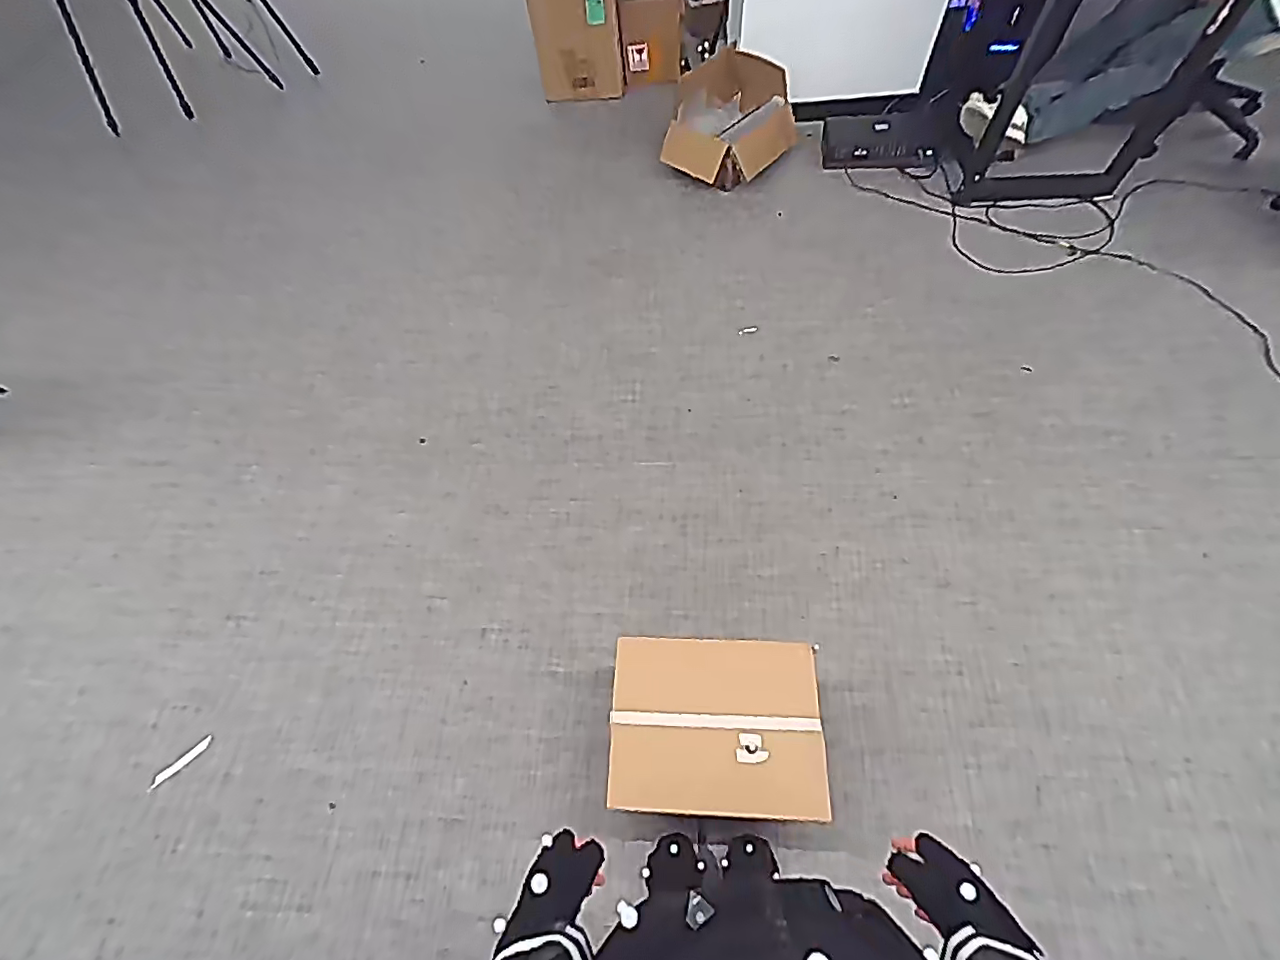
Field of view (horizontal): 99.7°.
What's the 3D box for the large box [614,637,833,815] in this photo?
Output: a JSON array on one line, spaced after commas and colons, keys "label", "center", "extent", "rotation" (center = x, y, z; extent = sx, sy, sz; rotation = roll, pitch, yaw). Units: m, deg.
[{"label": "large box", "center": [0.158, 0.537, 1.175], "extent": [0.408, 0.320, 0.320], "rotation": [0, 61, 4]}]
